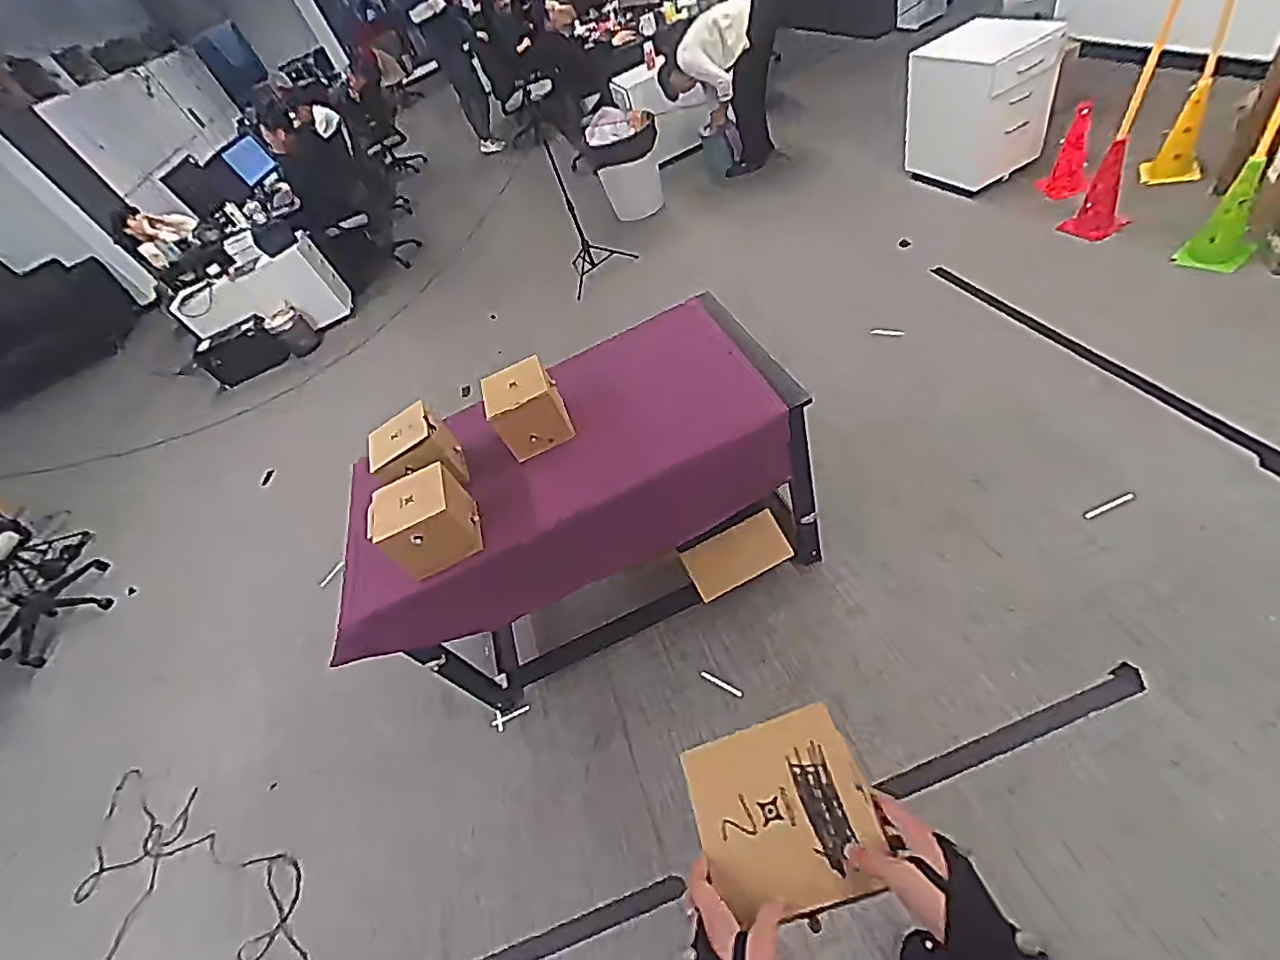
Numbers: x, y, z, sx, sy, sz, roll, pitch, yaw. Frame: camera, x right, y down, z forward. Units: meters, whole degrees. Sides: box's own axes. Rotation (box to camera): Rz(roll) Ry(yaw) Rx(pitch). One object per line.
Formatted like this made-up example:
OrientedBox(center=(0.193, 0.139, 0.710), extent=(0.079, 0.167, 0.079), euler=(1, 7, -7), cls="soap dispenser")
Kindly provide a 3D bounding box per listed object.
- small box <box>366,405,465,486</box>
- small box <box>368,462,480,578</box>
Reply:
OrientedBox(center=(-0.585, -0.055, 1.413), extent=(0.179, 0.176, 0.168), euler=(-27, 48, -2), cls="small box")
OrientedBox(center=(-0.495, 0.097, 1.249), extent=(0.179, 0.176, 0.168), euler=(-26, 47, -1), cls="small box")
